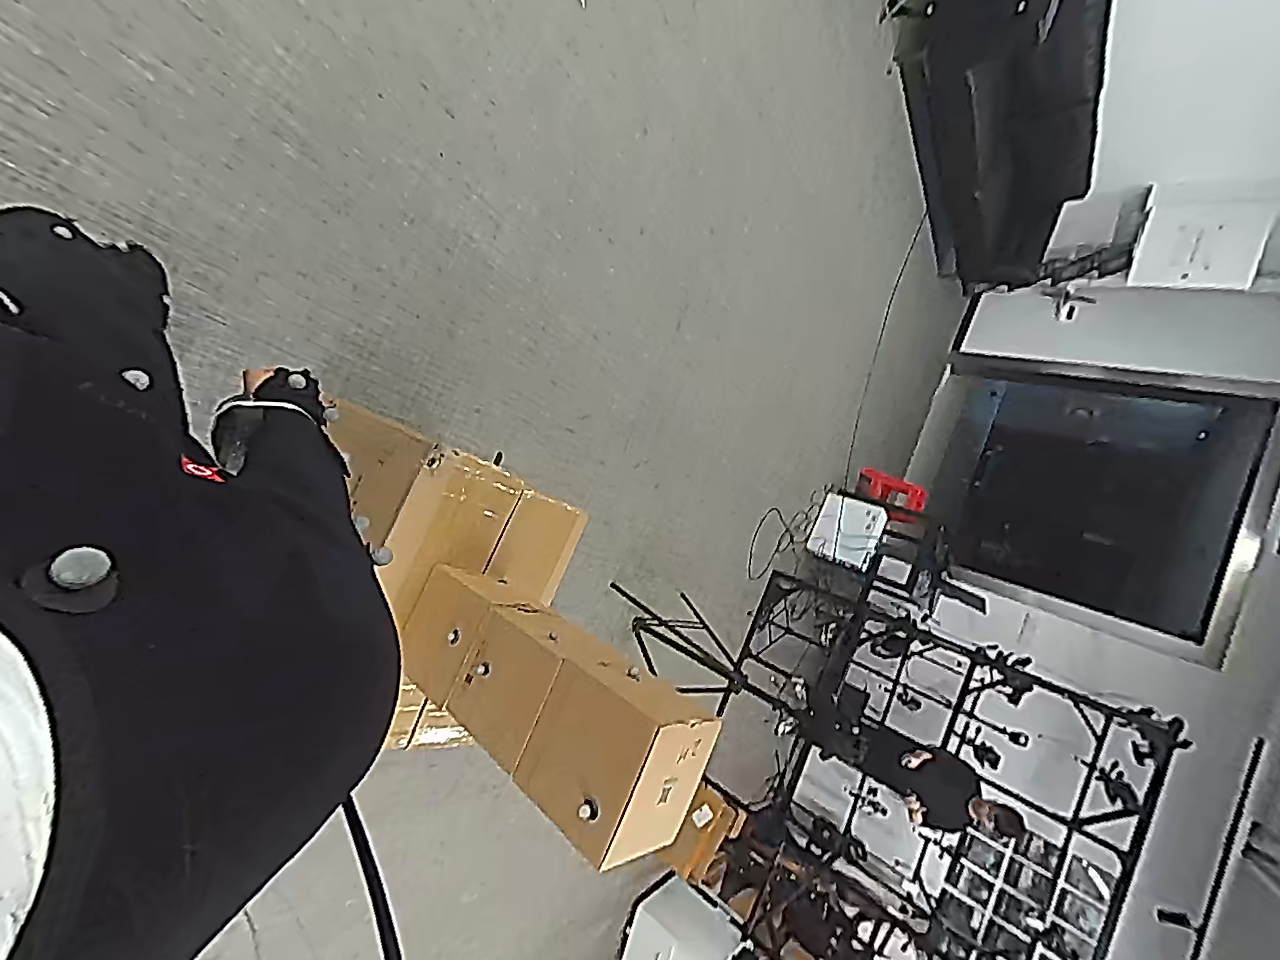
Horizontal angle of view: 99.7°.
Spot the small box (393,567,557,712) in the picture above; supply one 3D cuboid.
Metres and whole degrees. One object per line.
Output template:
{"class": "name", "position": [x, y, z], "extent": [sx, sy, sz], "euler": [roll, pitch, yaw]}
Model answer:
{"class": "small box", "position": [-0.279, 0.264, 0.907], "extent": [0.168, 0.176, 0.179], "euler": [31, 81, -51]}

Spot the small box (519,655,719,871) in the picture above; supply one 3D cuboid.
{"class": "small box", "position": [-0.031, 0.355, 0.710], "extent": [0.168, 0.176, 0.179], "euler": [31, 81, -51]}
